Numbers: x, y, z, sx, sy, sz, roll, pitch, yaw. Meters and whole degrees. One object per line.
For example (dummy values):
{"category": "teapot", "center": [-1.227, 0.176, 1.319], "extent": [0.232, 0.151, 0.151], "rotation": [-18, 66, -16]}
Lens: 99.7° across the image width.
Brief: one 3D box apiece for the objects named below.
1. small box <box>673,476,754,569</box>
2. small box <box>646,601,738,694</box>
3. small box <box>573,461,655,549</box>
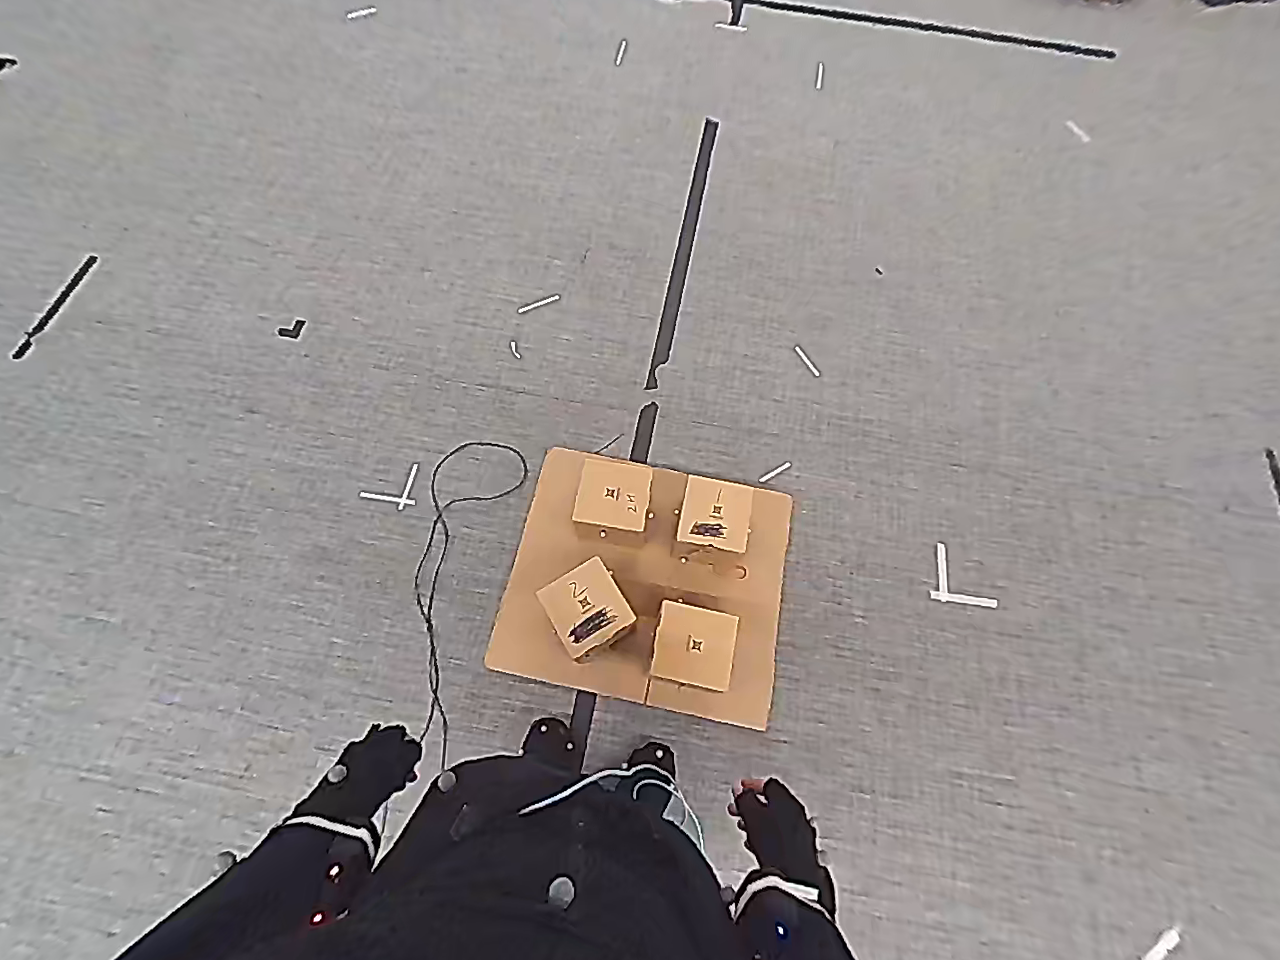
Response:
{"category": "small box", "center": [0.182, 0.116, 1.378], "extent": [0.168, 0.176, 0.179], "rotation": [12, 67, 4]}
{"category": "small box", "center": [0.117, 0.395, 1.266], "extent": [0.179, 0.176, 0.168], "rotation": [12, 68, 5]}
{"category": "small box", "center": [-0.064, 0.069, 1.385], "extent": [0.179, 0.176, 0.168], "rotation": [10, 69, 2]}
